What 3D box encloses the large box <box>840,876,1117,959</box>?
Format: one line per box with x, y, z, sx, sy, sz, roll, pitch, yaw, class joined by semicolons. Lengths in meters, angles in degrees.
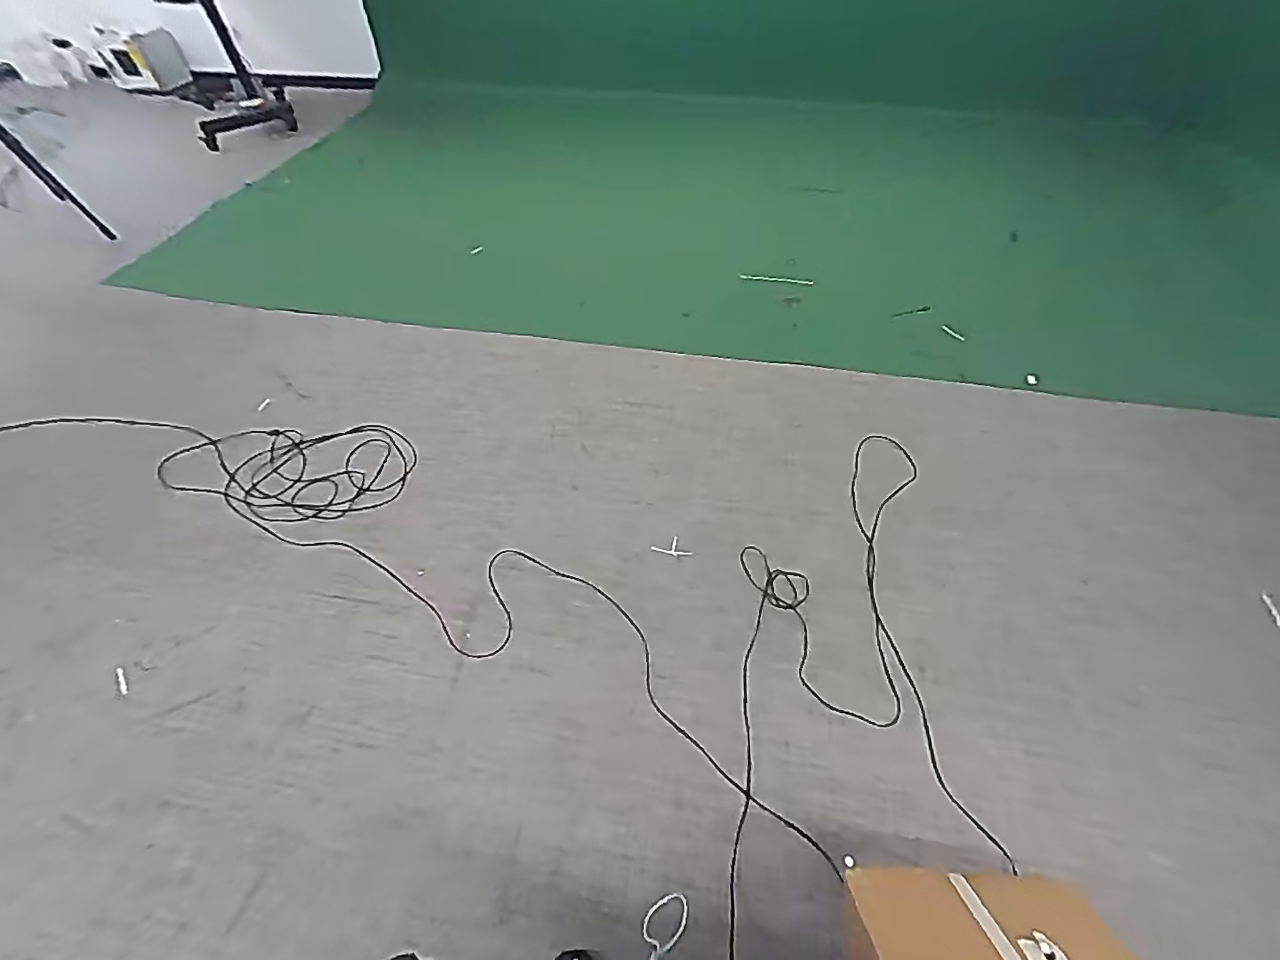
0.438;0.747;0.604;0.320;0.408;0.320;2;91;4;large box
